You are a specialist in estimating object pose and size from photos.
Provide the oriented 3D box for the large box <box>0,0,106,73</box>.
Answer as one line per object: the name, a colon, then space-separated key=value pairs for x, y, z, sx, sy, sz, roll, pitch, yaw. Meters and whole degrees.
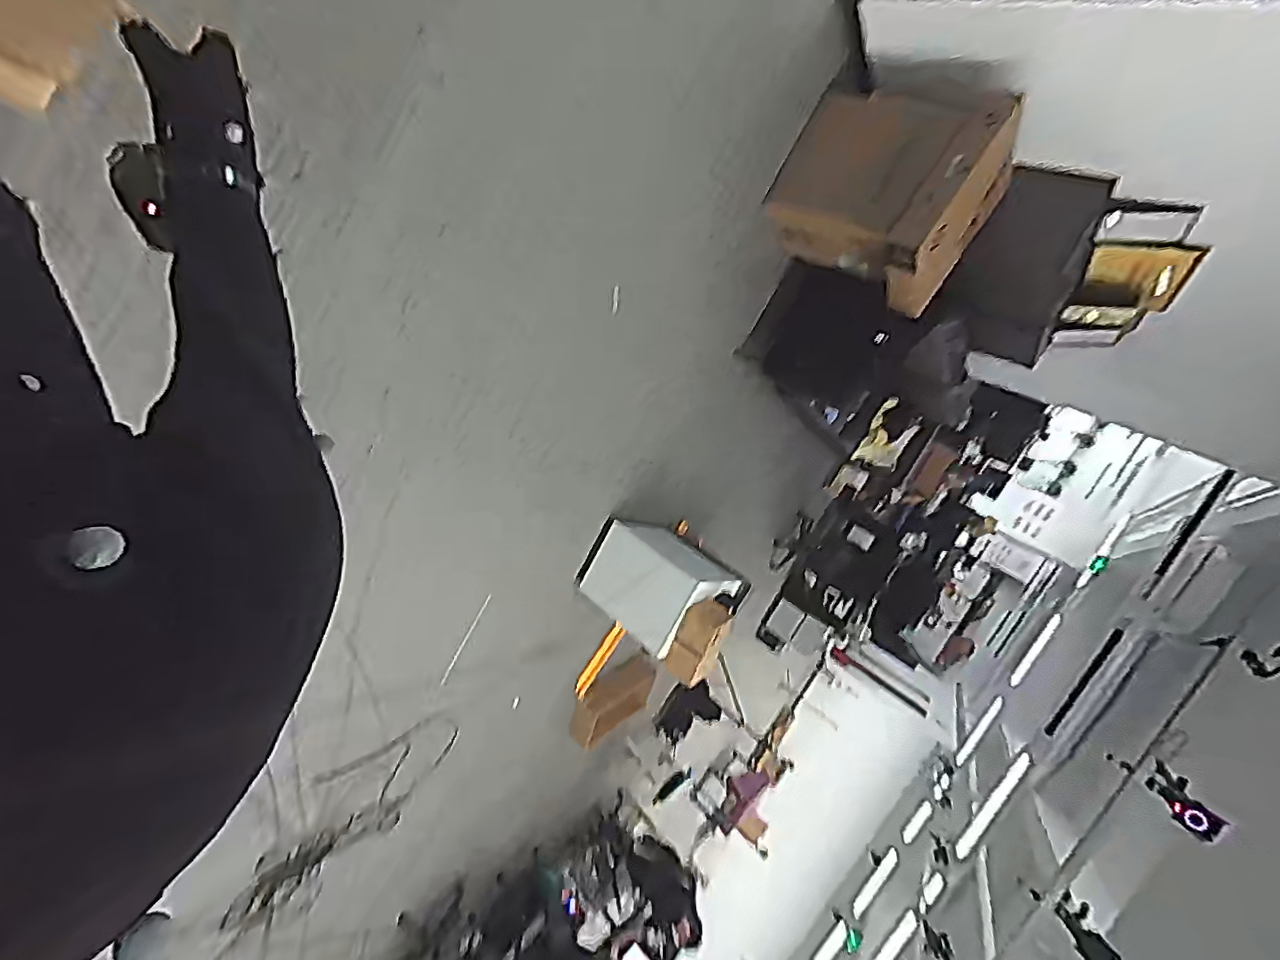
large box: x=-0.680 y=-0.614 z=0.410 sx=0.408 sy=0.320 sz=0.320 roll=22 pitch=96 yaw=-60
